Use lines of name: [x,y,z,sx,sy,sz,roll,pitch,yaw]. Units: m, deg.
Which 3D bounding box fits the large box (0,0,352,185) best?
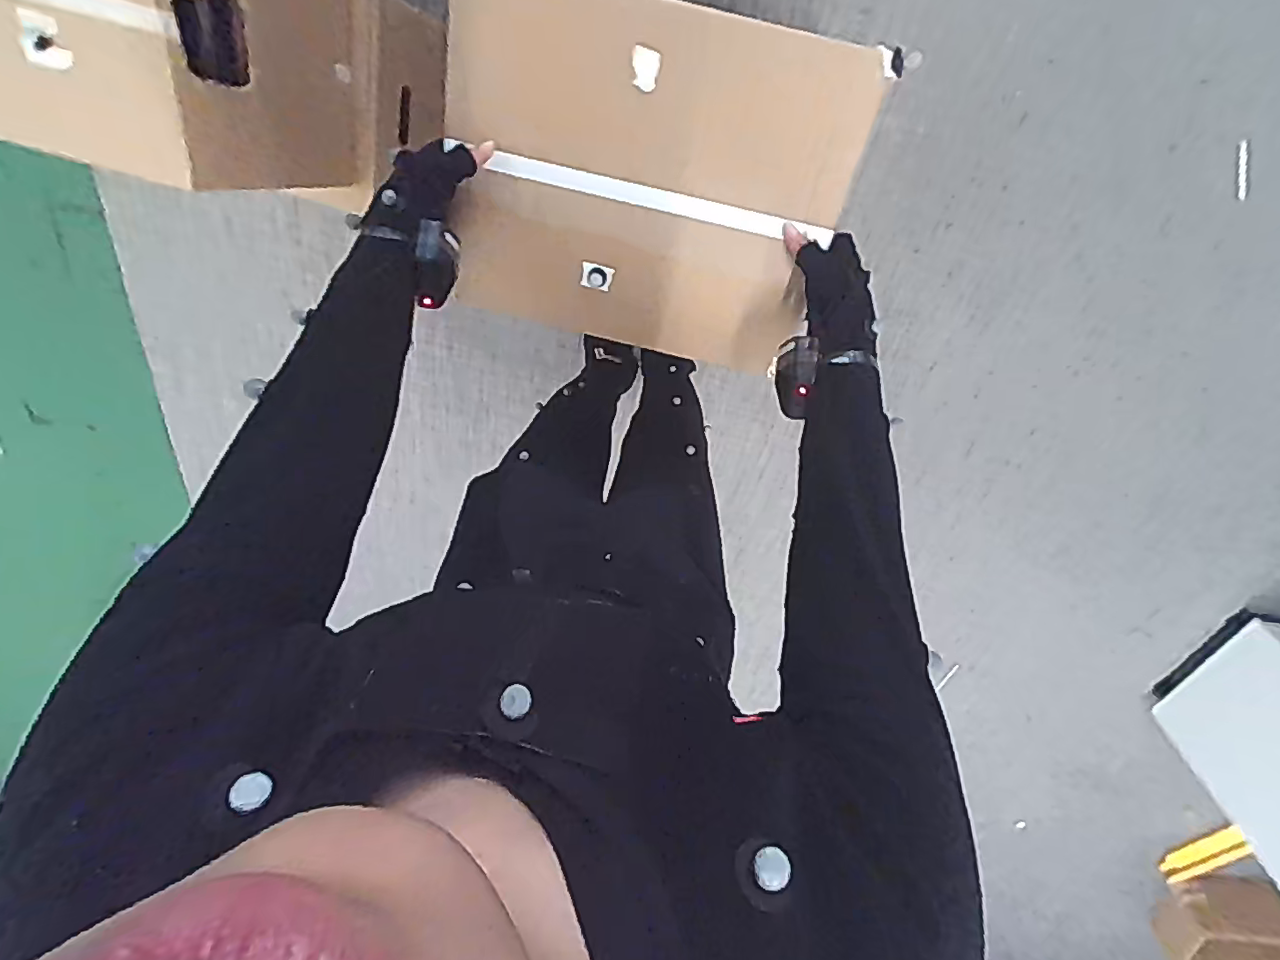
large box: [-0.640,-0.591,0.674,0.408,0.320,0.320,16,119,-1]
